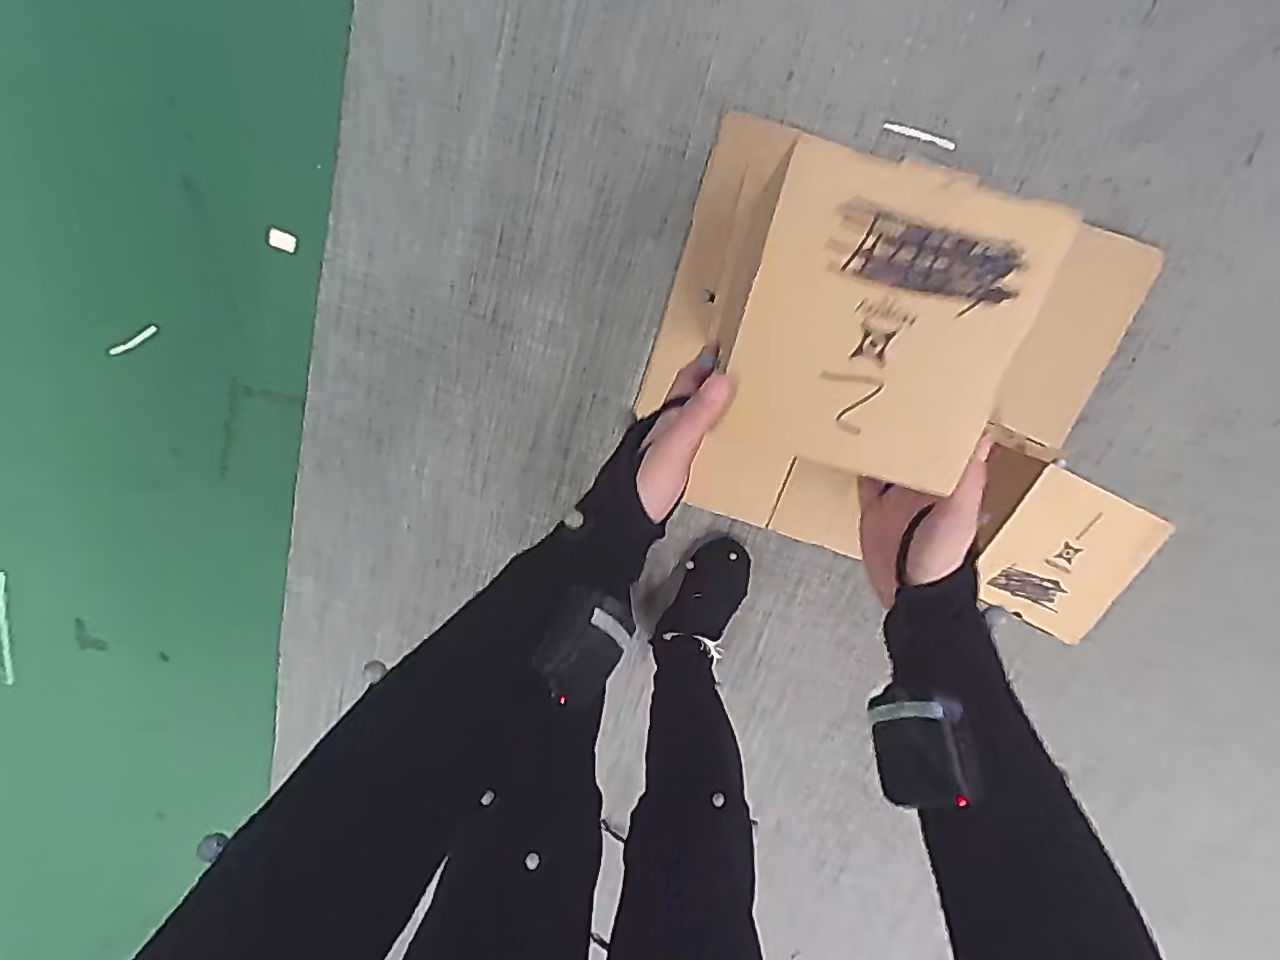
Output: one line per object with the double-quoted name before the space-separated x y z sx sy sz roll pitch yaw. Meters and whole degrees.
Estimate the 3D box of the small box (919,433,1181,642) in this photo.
"small box" 0.487 0.062 0.684 0.168 0.176 0.179 26 106 -2

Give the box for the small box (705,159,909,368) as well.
"small box" 0.175 -0.239 0.628 0.168 0.176 0.179 12 107 1
